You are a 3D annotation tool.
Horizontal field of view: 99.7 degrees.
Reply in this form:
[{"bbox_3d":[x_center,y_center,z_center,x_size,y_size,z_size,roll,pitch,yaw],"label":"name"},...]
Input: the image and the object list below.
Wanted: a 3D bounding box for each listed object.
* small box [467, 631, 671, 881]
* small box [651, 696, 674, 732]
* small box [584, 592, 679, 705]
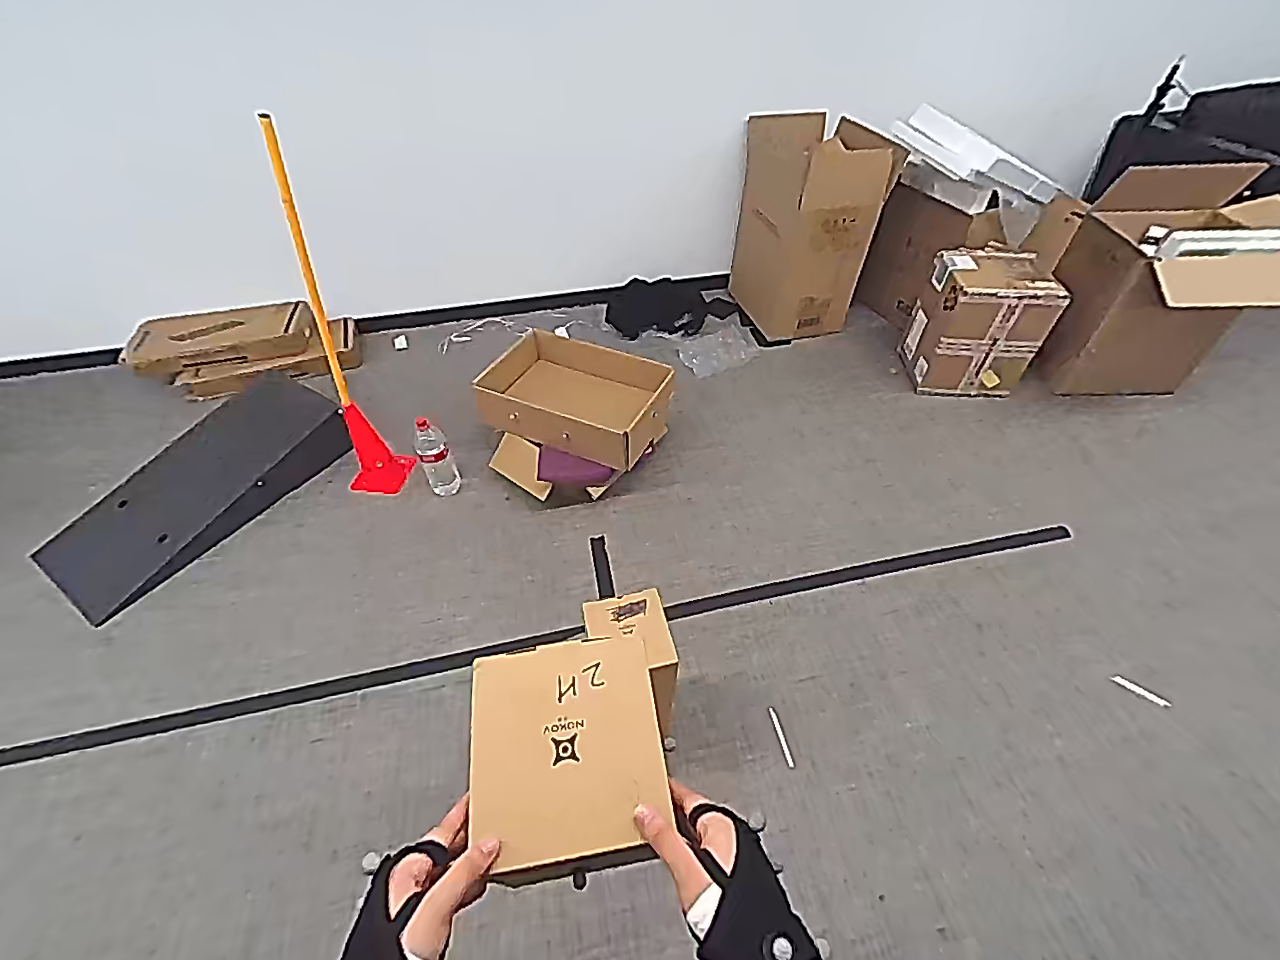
[{"bbox_3d":[-0.064,0.277,0.535,0.168,0.176,0.179,-9,51,-5],"label":"small box"},{"bbox_3d":[-0.024,0.486,1.274,0.168,0.176,0.179,-11,46,-9],"label":"small box"},{"bbox_3d":[-0.022,0.371,1.156,0.168,0.176,0.179,-11,47,-9],"label":"small box"}]
